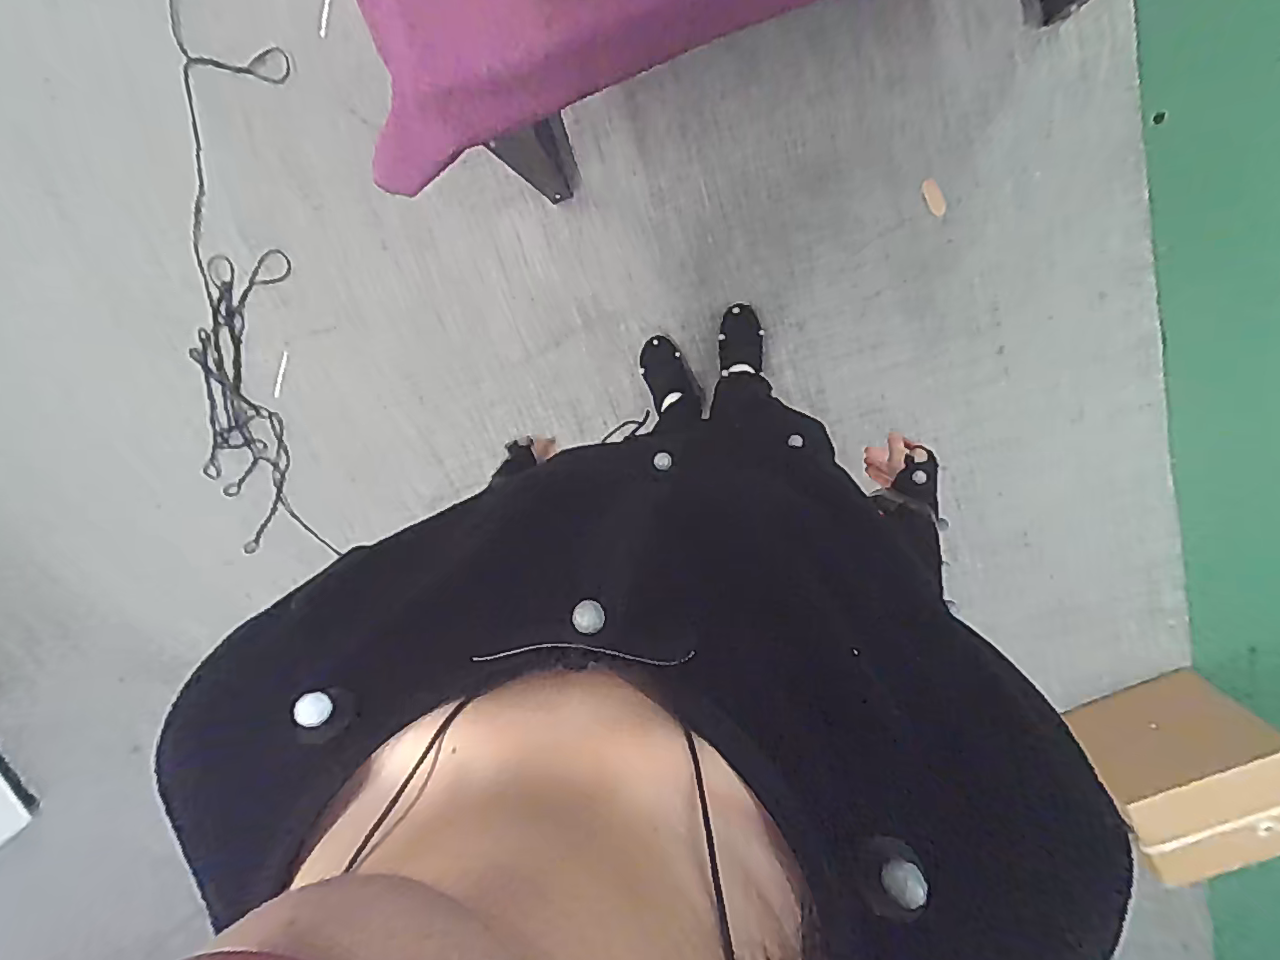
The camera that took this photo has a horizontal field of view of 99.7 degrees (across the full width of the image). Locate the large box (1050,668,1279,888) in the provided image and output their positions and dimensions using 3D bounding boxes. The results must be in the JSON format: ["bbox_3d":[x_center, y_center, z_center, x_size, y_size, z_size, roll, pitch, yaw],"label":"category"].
[{"bbox_3d":[1.465,0.794,1.474,0.408,0.320,0.320,-31,102,12],"label":"large box"}]
